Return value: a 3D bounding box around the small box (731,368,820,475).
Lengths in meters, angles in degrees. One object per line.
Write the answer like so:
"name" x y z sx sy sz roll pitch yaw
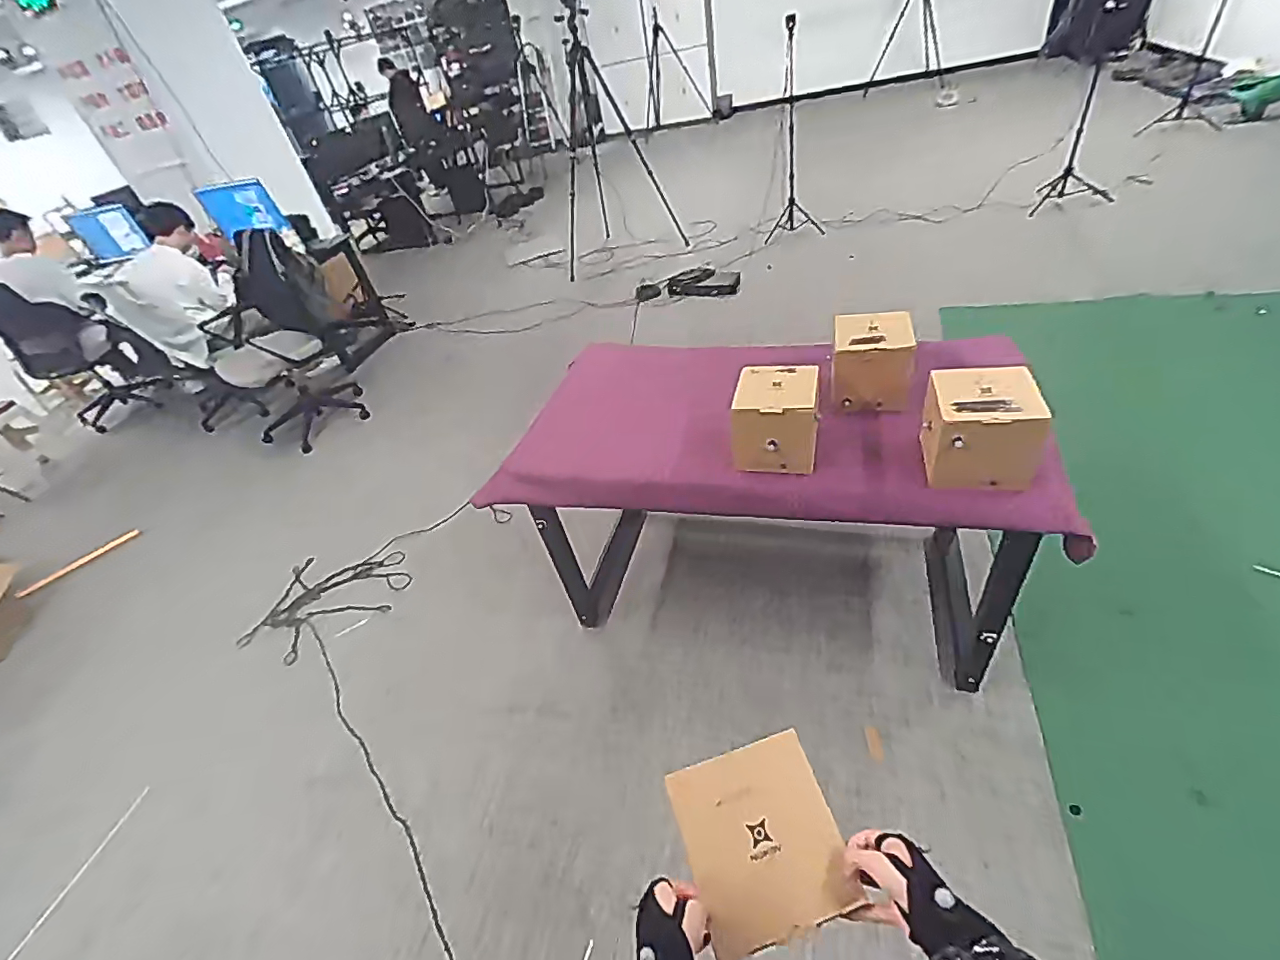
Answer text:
"small box" 0.302 -0.127 1.181 0.168 0.176 0.179 4 42 20

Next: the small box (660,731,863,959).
"small box" 0.127 0.422 0.644 0.168 0.176 0.179 -15 59 -9

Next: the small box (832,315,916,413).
"small box" 0.548 -0.271 1.279 0.168 0.176 0.179 2 42 18
